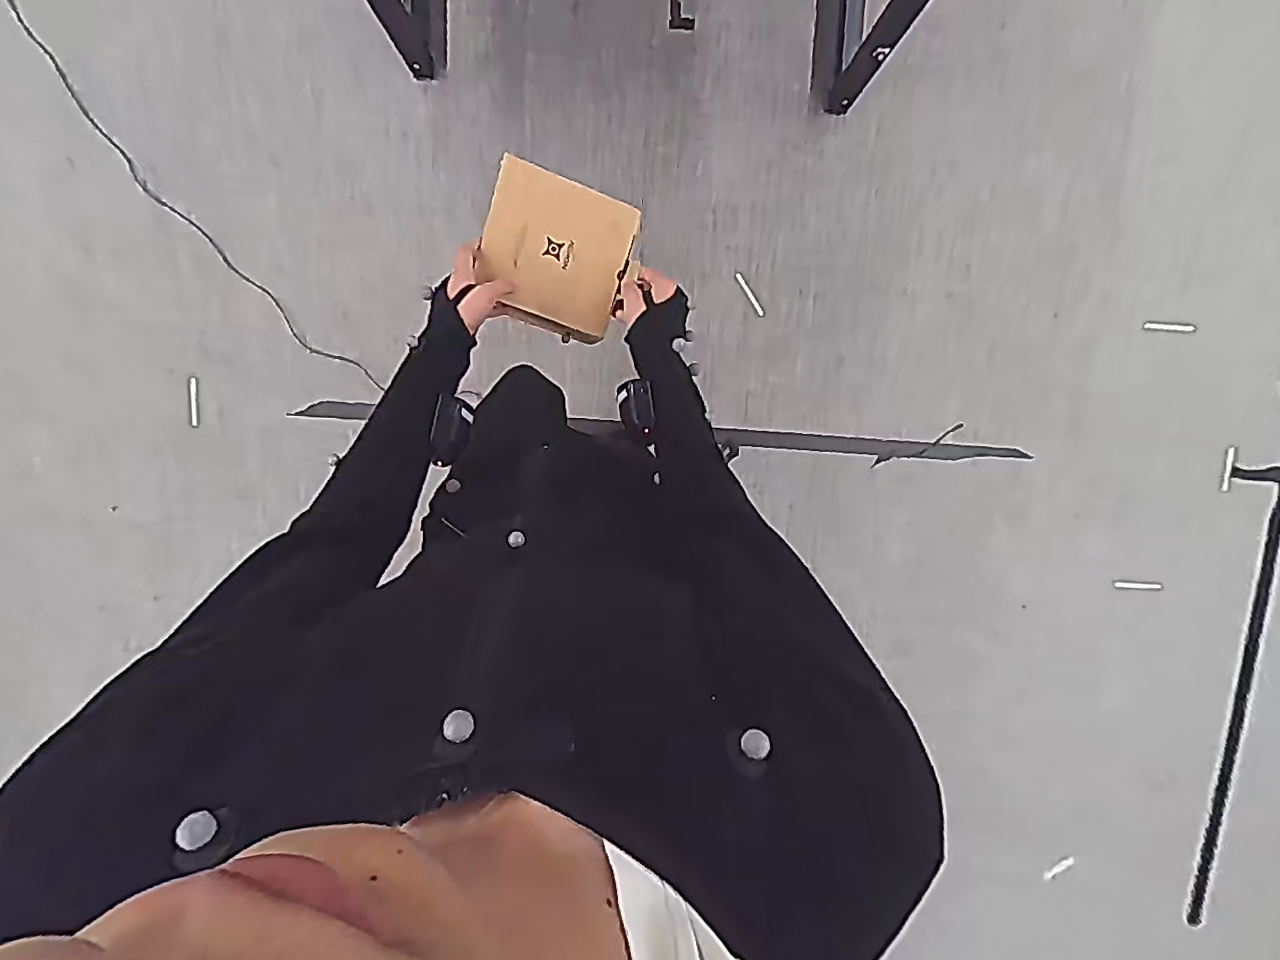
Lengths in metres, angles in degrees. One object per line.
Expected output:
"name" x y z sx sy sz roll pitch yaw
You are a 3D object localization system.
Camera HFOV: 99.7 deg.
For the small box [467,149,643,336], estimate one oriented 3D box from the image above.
"small box" -0.117 -0.302 0.733 0.179 0.176 0.168 17 98 -14
